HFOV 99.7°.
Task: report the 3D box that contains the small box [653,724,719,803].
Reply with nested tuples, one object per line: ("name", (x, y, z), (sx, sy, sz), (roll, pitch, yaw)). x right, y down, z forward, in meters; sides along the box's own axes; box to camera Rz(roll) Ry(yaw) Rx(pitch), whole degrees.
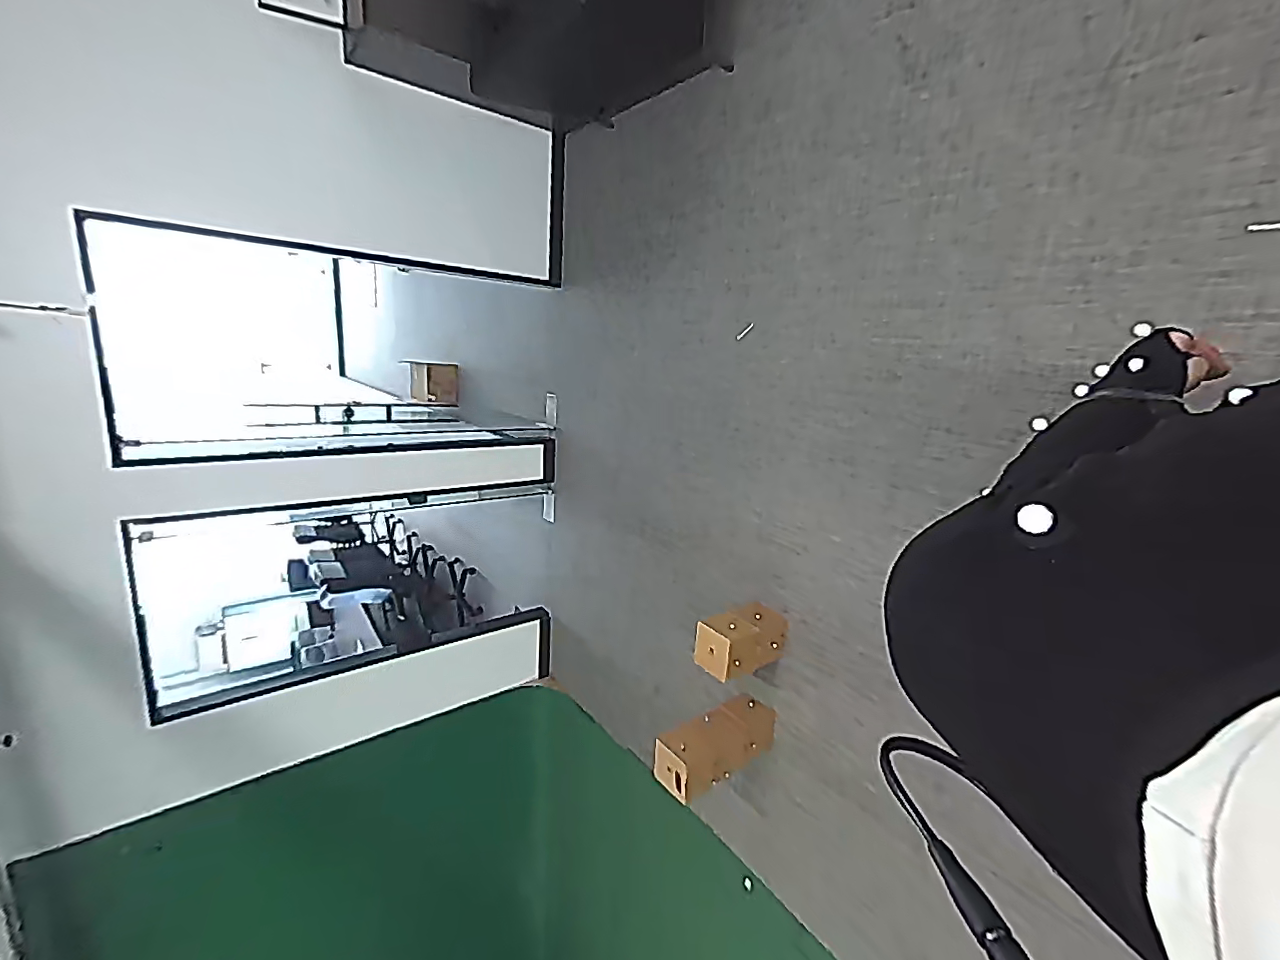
("small box", (0.171, 1.036, 1.999), (0.179, 0.176, 0.168), (18, 109, 51))

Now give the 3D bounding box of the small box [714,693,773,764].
("small box", (0.424, 1.007, 2.207), (0.168, 0.176, 0.179), (20, 109, 50))

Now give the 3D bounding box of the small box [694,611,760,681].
("small box", (0.326, 0.610, 2.016), (0.168, 0.176, 0.179), (20, 111, 50))

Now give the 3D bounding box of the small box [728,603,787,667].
("small box", (0.450, 0.600, 2.121), (0.179, 0.176, 0.168), (22, 111, 48))
